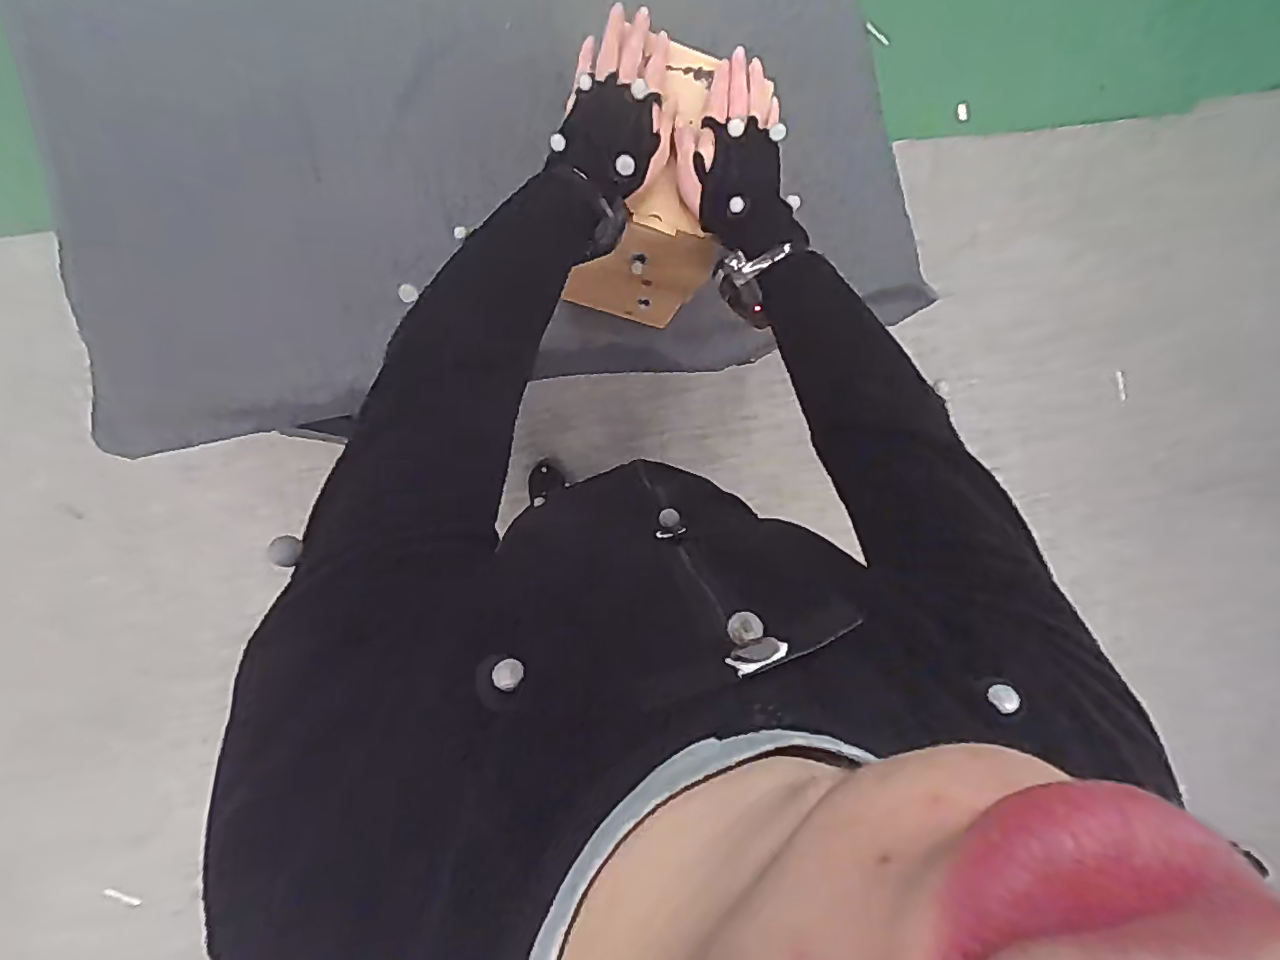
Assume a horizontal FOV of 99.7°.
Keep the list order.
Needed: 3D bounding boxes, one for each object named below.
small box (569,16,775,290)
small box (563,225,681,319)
[{"bbox_3d":[0.021,-0.332,0.594,0.168,0.176,0.179,15,89,-11],"label":"small box"},{"bbox_3d":[-0.009,-0.345,0.754,0.168,0.176,0.179,14,87,-10],"label":"small box"}]
